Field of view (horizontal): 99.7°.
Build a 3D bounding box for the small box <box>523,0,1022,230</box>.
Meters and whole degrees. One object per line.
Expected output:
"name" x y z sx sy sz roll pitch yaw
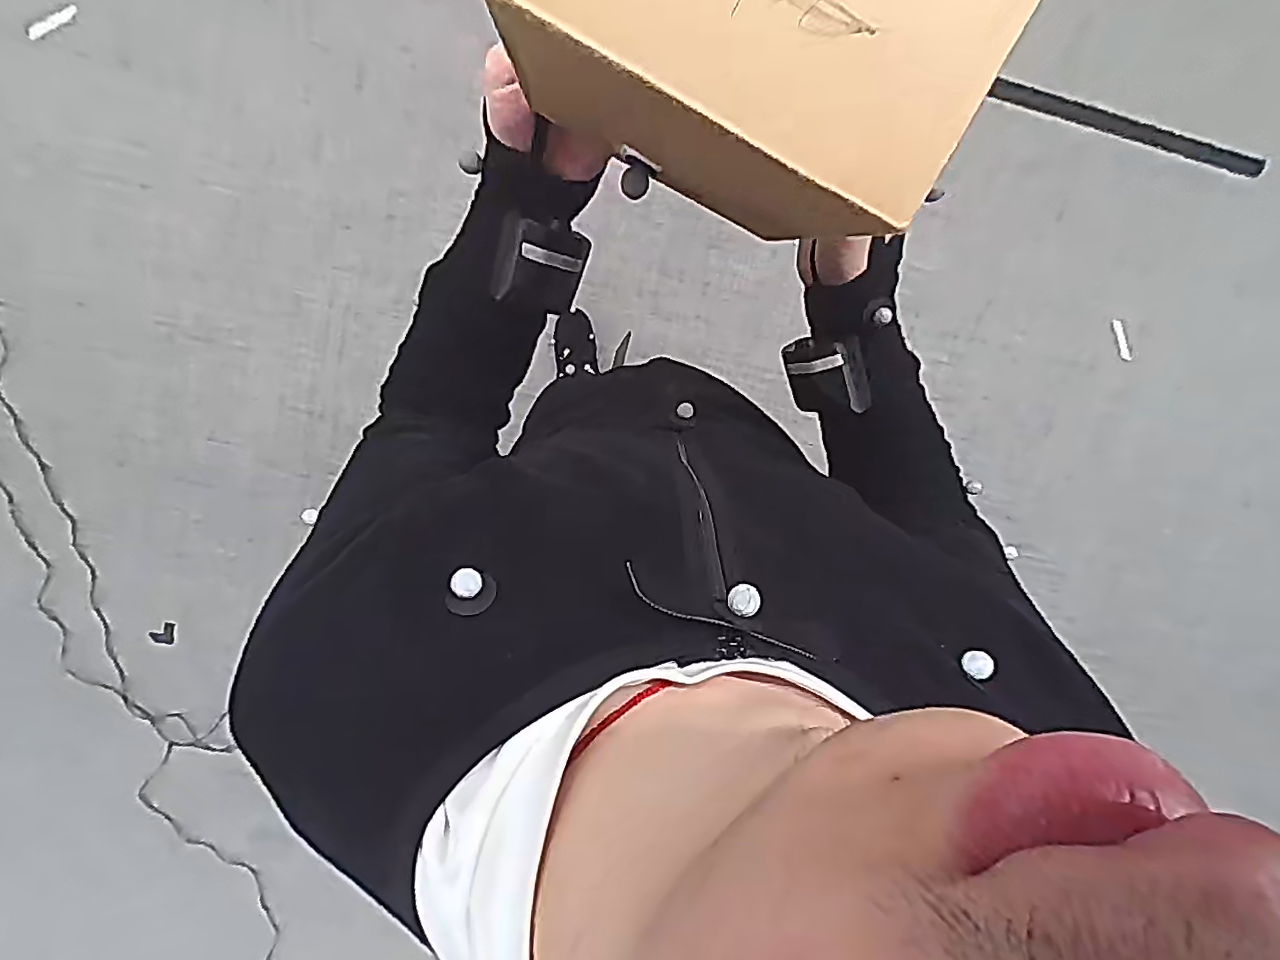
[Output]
"small box" 0.055 -0.234 0.240 0.168 0.176 0.179 22 109 -13
